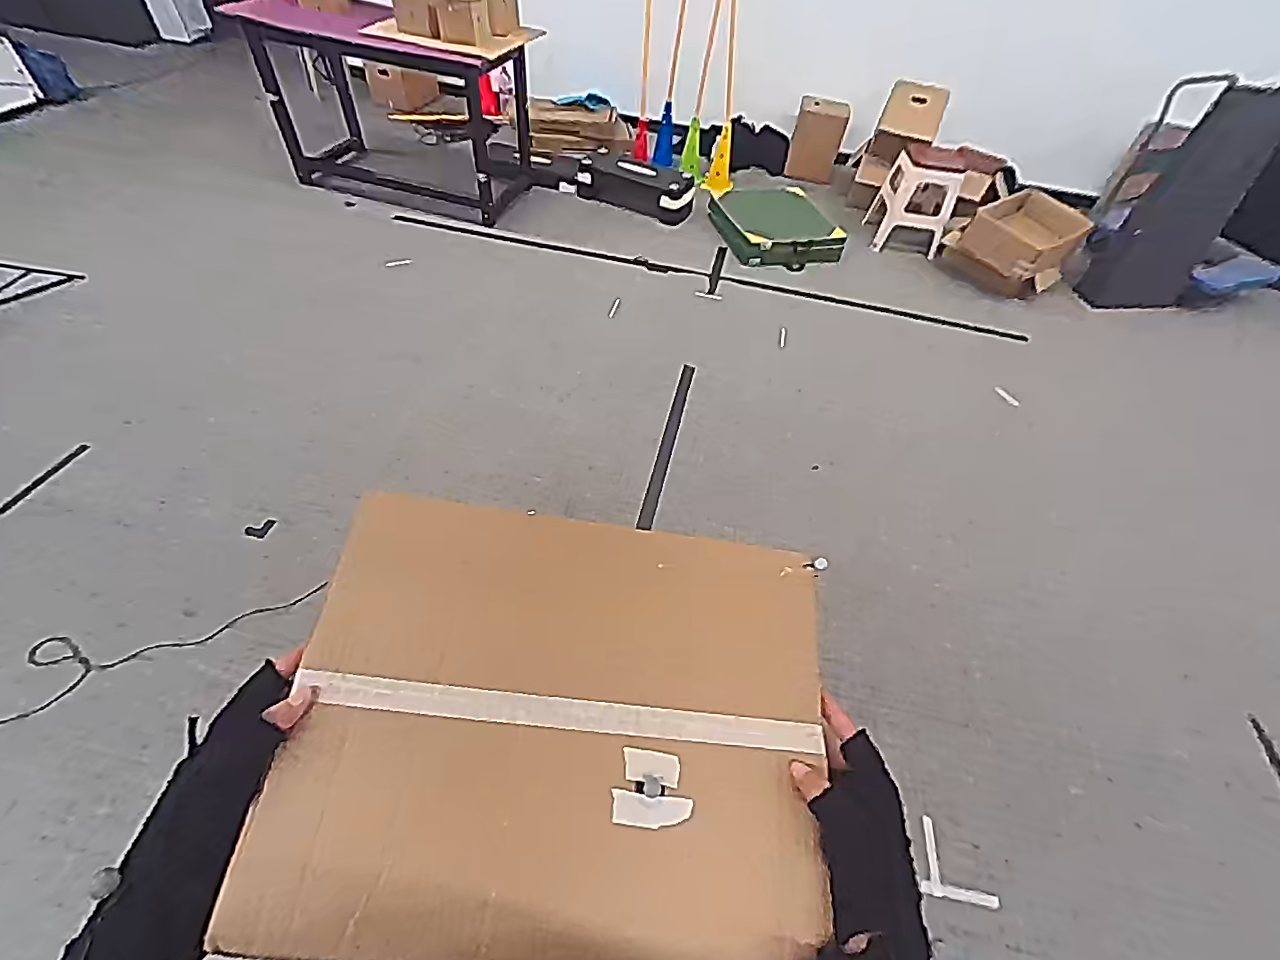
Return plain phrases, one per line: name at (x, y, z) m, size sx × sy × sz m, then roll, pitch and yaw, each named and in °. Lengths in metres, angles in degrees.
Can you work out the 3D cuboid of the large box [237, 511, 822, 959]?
large box at (-0.078, 0.252, 0.563) m, size 0.408 × 0.320 × 0.320 m, roll 8°, pitch 64°, yaw -6°
